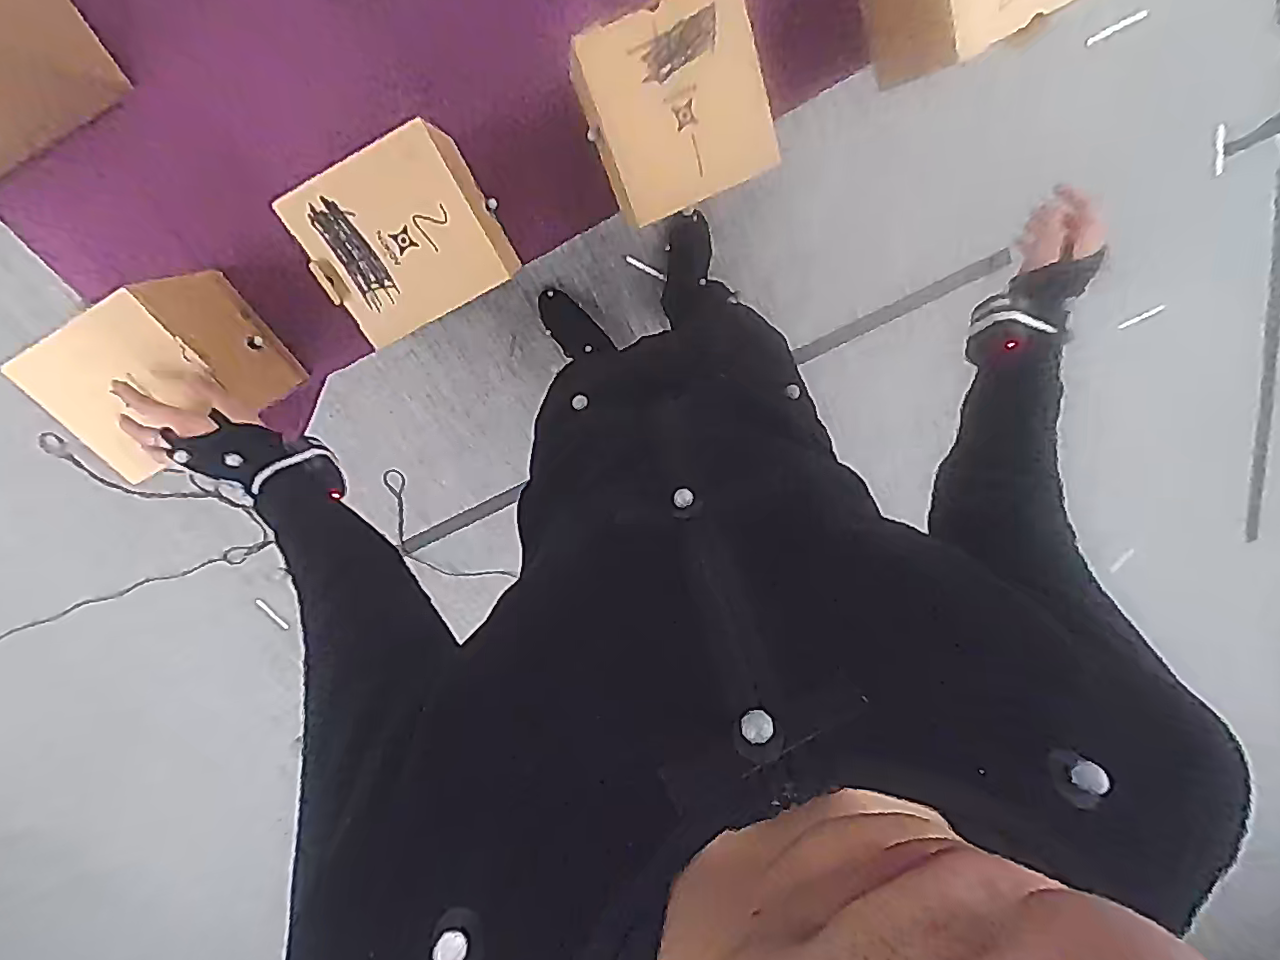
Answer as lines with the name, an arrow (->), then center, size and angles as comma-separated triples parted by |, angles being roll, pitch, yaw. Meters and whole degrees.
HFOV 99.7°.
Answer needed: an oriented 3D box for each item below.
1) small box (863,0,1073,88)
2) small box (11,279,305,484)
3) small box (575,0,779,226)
small box -> 0.346, -0.559, 0.569 | 0.168, 0.176, 0.179 | -25, 117, 7
small box -> -0.567, -0.129, 0.670 | 0.179, 0.176, 0.168 | -29, 116, 6
small box -> 0.033, -0.407, 0.608 | 0.168, 0.176, 0.179 | -22, 118, 5
